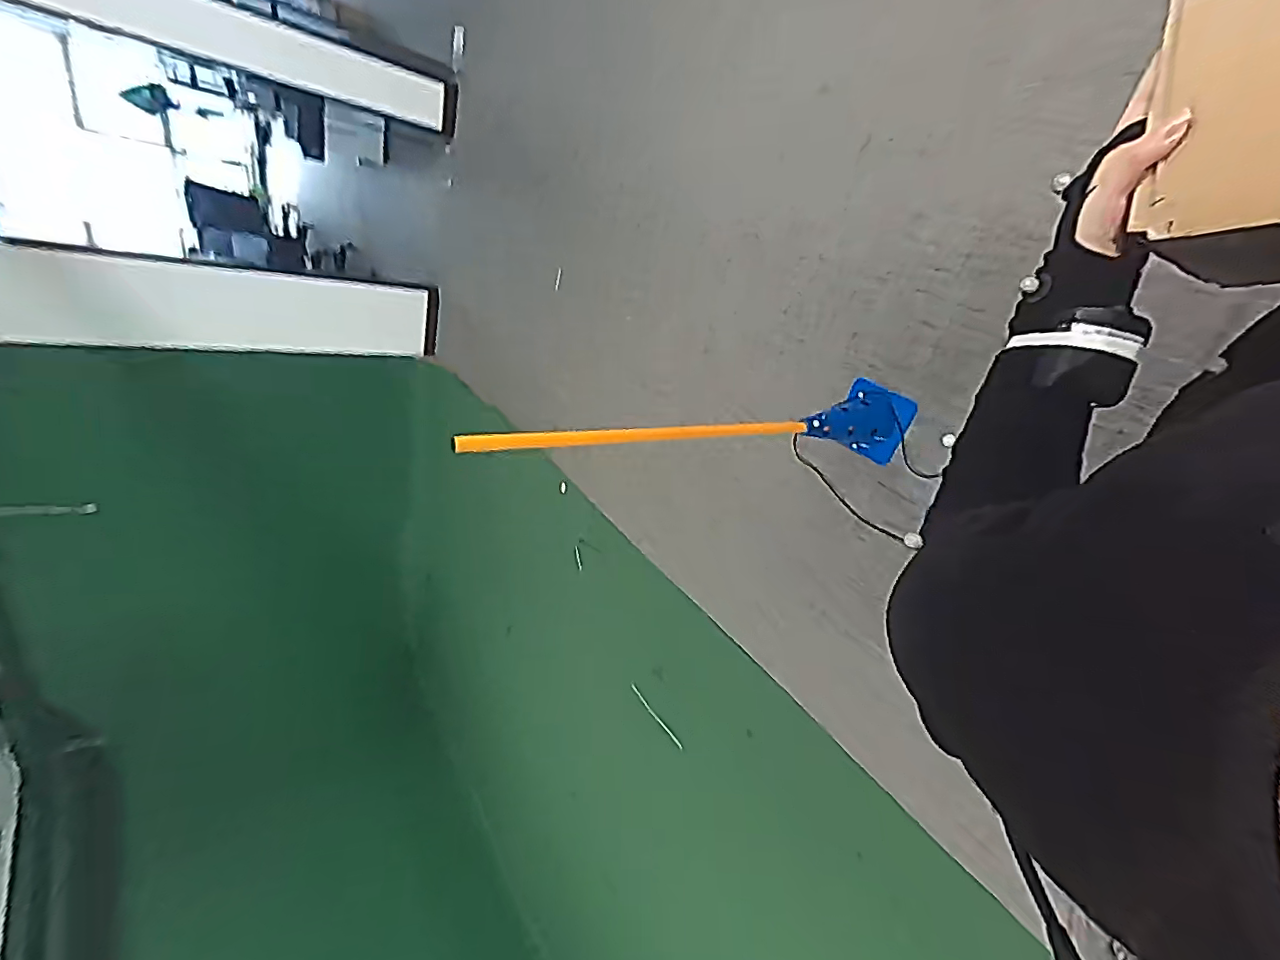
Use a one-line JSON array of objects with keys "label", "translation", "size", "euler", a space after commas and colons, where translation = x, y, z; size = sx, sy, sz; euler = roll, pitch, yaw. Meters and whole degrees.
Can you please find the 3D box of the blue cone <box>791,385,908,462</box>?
[{"label": "blue cone", "translation": [0.522, -0.145, 1.435], "size": [0.193, 0.380, 0.192], "euler": [39, 123, 40]}]
